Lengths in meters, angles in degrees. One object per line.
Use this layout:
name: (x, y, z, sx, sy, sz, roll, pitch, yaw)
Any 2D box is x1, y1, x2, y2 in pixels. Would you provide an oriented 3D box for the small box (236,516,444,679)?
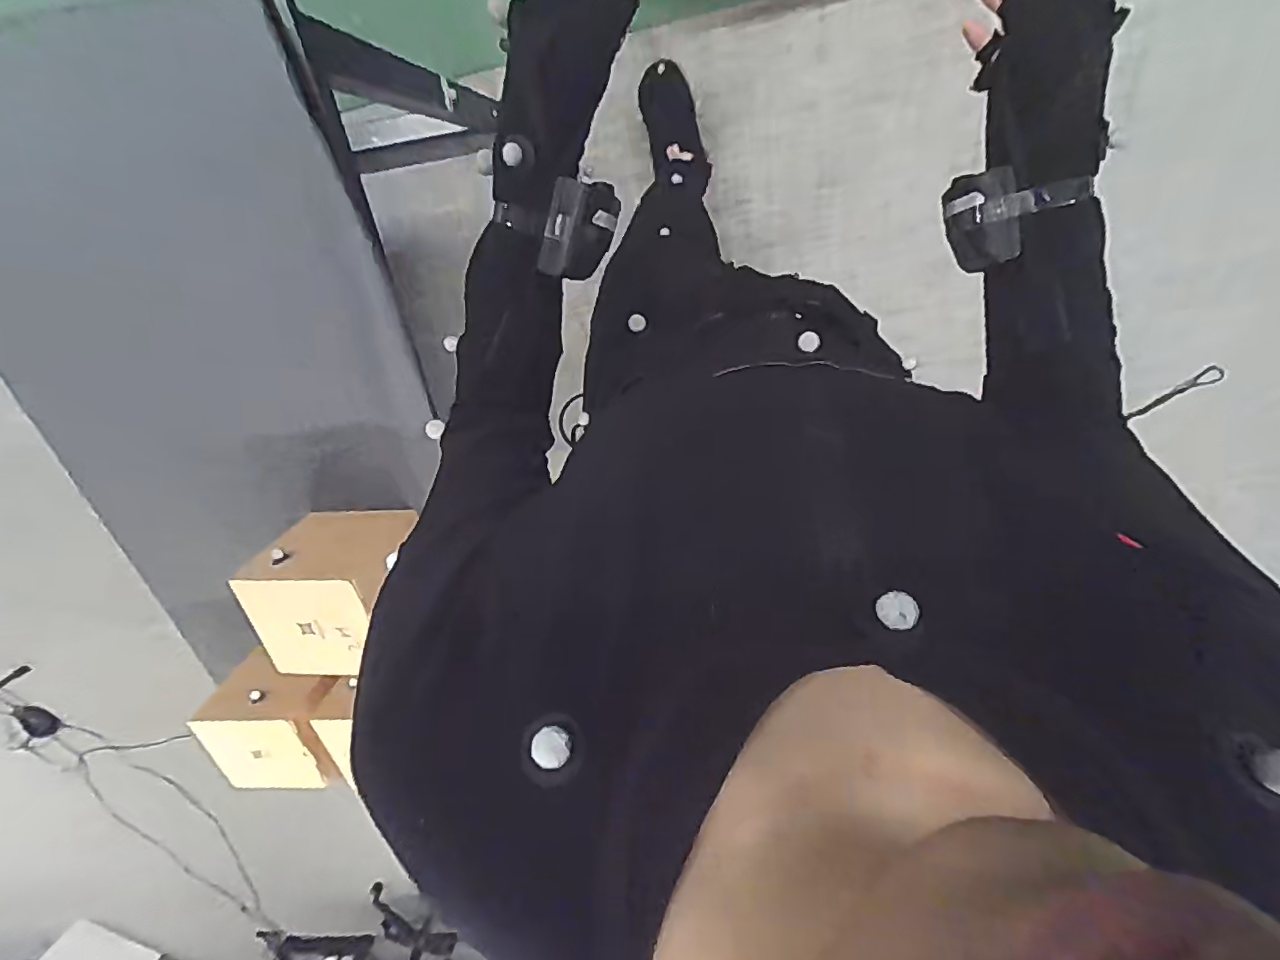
small box: (-0.415, 0.162, 0.781, 0.179, 0.176, 0.168, -2, 117, 8)

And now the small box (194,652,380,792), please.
small box: (-0.589, 0.403, 0.929, 0.179, 0.176, 0.168, -4, 117, 7)
